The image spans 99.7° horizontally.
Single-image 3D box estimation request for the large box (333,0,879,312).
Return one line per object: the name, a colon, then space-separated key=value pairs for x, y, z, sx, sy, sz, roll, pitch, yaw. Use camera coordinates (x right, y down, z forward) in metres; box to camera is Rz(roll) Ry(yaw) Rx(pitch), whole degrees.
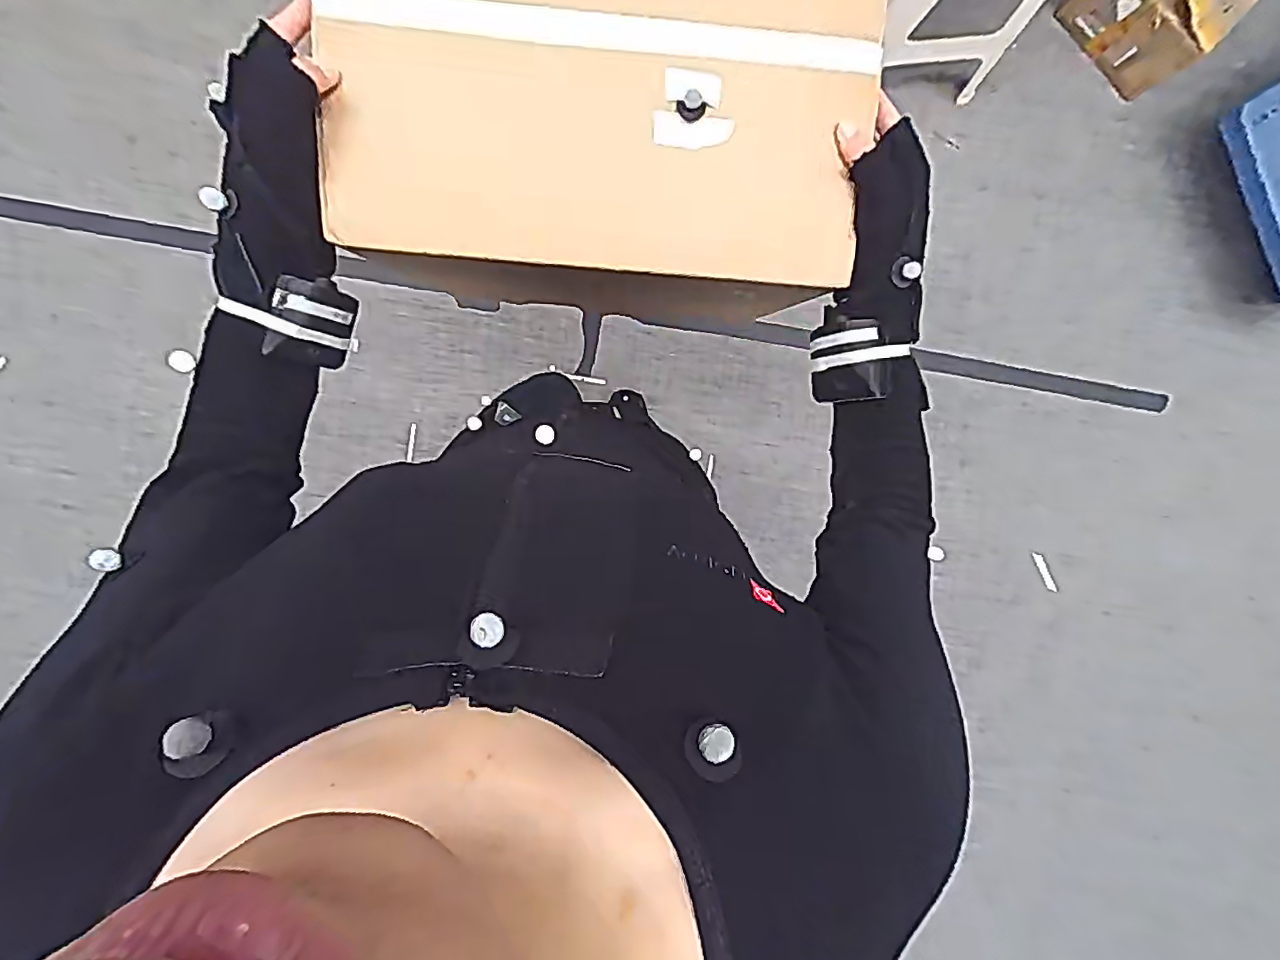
large box: x=-0.031 y=-0.356 z=0.544 sx=0.408 sy=0.320 sz=0.320 roll=3 pitch=101 yaw=-3
